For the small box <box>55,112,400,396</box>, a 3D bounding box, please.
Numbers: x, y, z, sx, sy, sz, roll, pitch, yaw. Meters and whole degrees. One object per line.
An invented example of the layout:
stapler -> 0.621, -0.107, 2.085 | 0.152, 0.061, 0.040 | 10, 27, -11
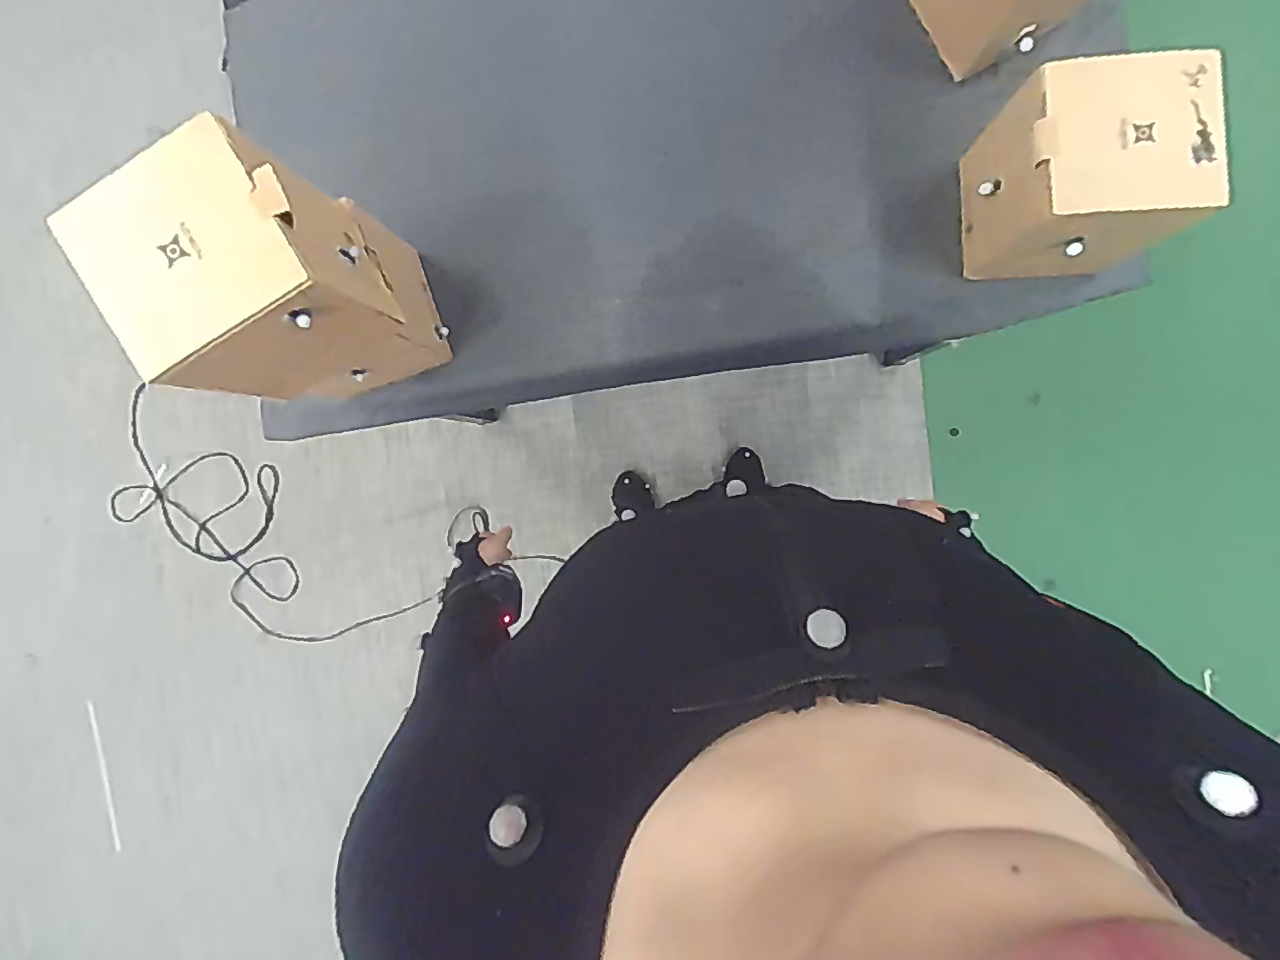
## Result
small box -> -0.381, -0.198, 0.534 | 0.179, 0.176, 0.168 | -31, 91, 4

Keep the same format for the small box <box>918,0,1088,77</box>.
small box -> 0.445, -0.631, 0.624 | 0.168, 0.176, 0.179 | -29, 92, 7

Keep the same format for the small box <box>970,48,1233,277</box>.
small box -> 0.509, -0.349, 0.628 | 0.179, 0.176, 0.168 | -1, 88, 5

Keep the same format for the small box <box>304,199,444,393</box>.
small box -> -0.376, -0.220, 0.696 | 0.179, 0.176, 0.168 | -18, 92, 5
